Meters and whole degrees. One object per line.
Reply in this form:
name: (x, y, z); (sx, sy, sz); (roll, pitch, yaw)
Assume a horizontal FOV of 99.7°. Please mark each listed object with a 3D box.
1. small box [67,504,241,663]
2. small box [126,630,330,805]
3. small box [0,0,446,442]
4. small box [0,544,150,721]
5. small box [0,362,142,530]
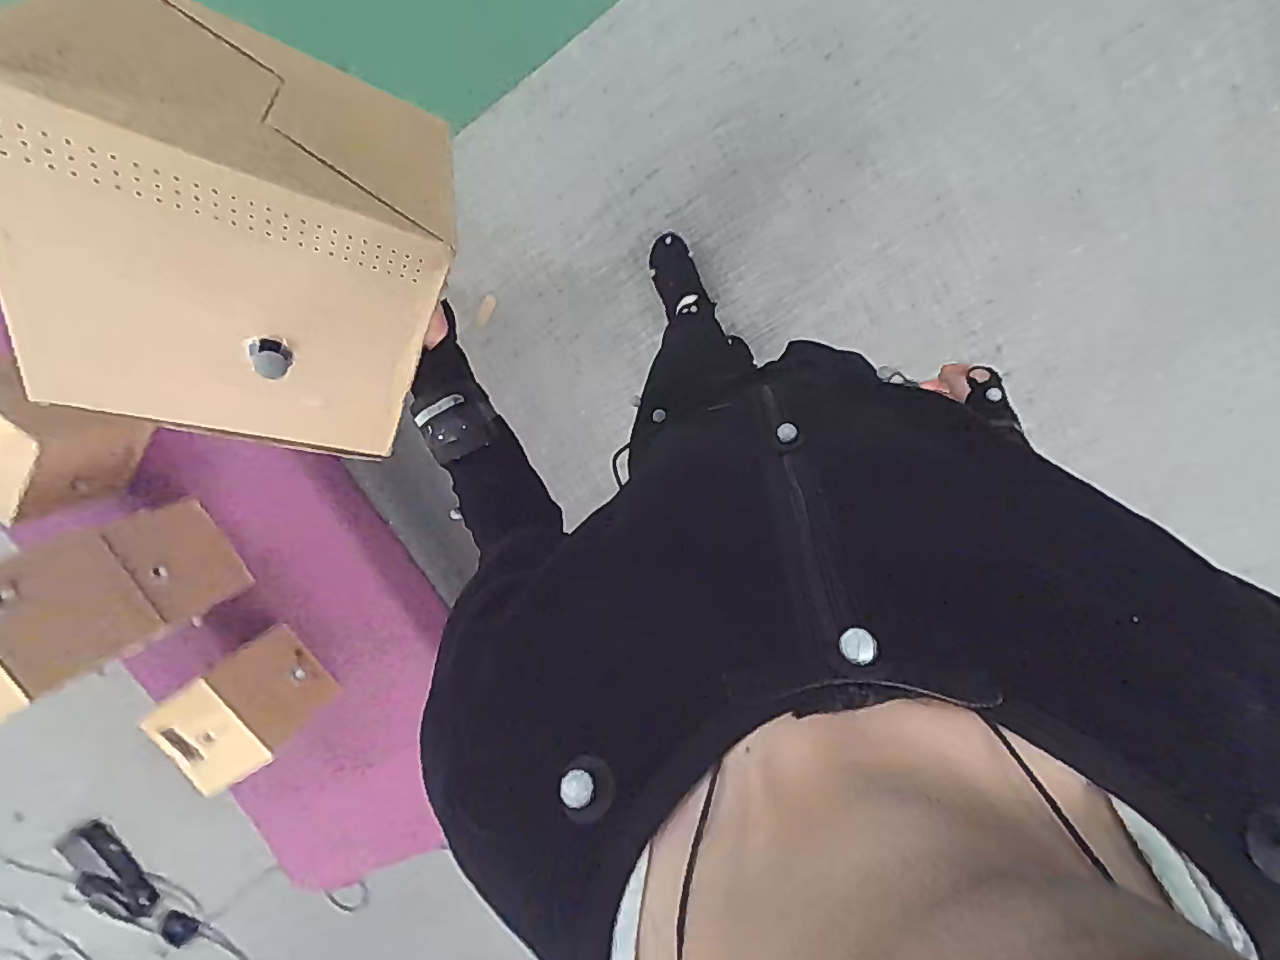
small box: (-0.791, 0.162, 0.853); (0.168, 0.176, 0.179); (-24, 101, 13)
small box: (-0.670, 0.387, 0.900); (0.179, 0.176, 0.168); (-32, 100, 14)
small box: (-0.219, -0.149, 0.309); (0.179, 0.168, 0.176); (10, 136, -32)
small box: (-0.808, 0.200, 0.693); (0.168, 0.176, 0.179); (-24, 102, 14)
small box: (-0.911, -0.062, 0.804); (0.179, 0.176, 0.168); (39, 108, -5)
